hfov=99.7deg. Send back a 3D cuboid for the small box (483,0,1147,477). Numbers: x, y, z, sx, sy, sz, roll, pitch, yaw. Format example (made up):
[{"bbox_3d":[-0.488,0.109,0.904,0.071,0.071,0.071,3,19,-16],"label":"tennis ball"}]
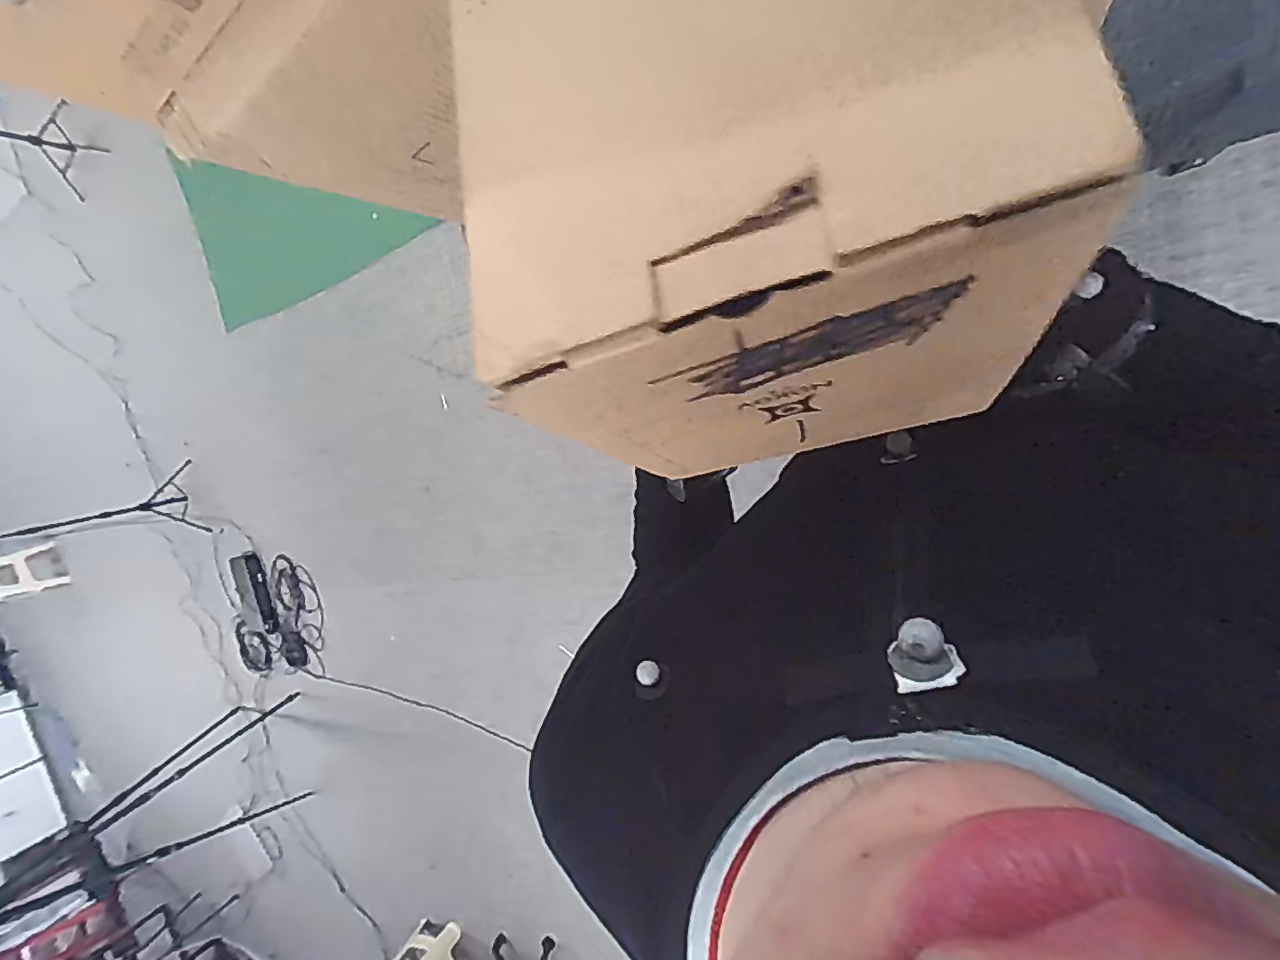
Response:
[{"bbox_3d":[0.051,-0.112,0.233,0.168,0.179,0.176,-12,77,20],"label":"small box"}]
